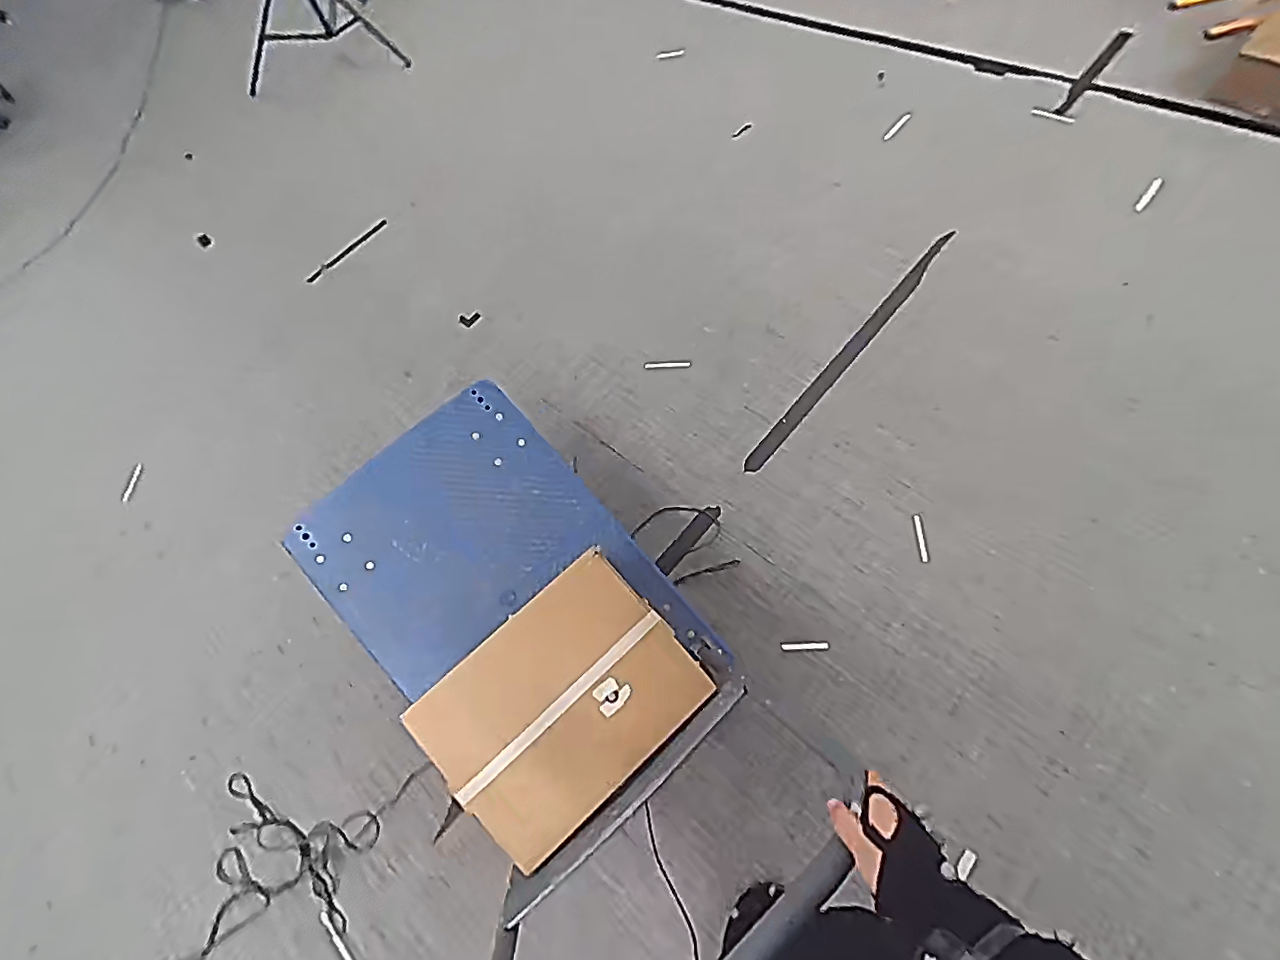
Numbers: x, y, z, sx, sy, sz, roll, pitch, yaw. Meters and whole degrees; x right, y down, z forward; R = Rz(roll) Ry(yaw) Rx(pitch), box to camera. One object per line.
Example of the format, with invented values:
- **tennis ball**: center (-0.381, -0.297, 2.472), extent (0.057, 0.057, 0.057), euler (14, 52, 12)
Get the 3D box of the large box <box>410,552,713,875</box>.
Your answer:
- **large box**: center (-0.132, 0.394, 1.016), extent (0.408, 0.320, 0.320), euler (-42, 85, -11)
